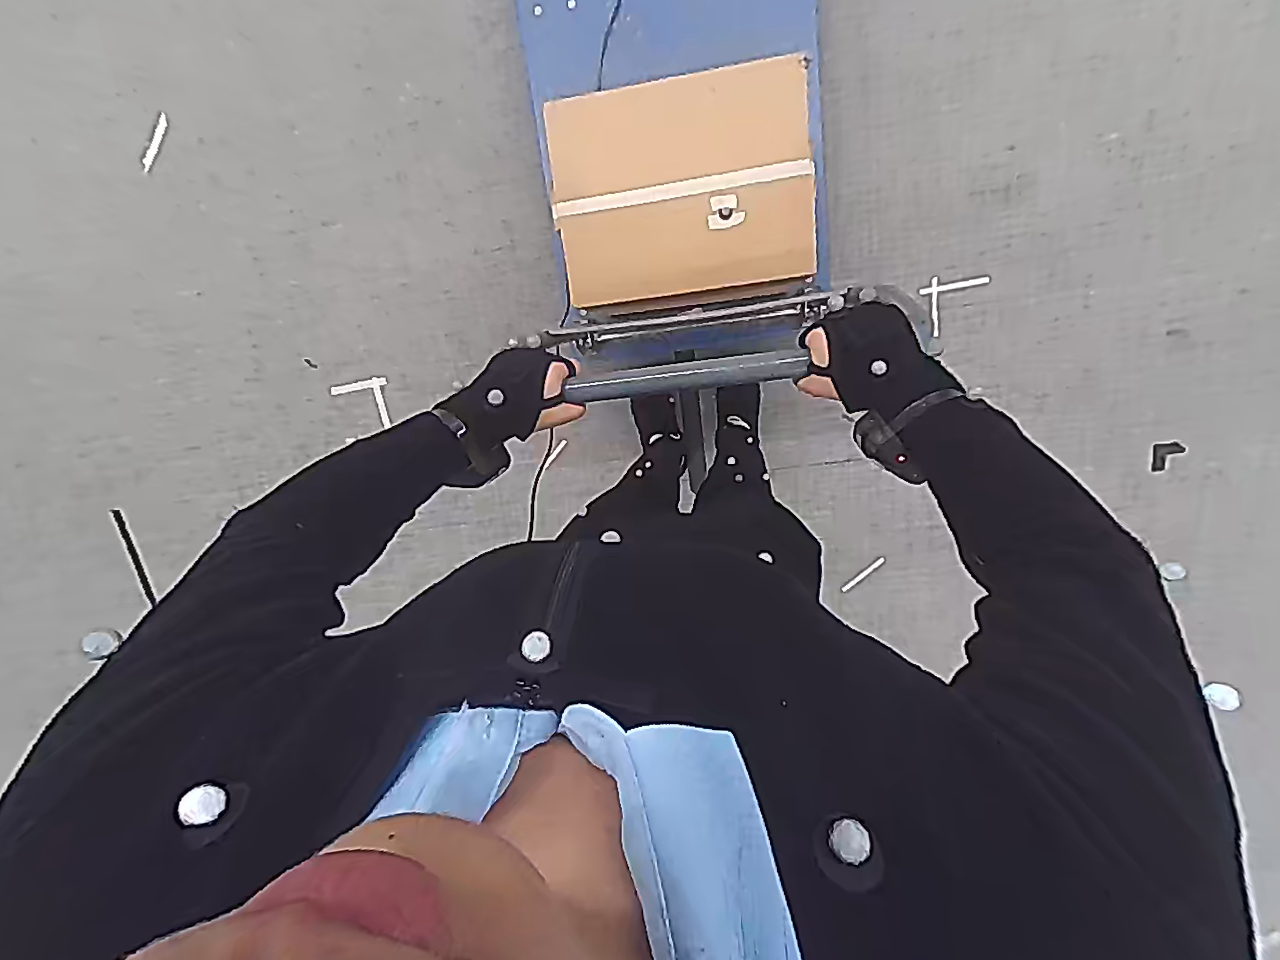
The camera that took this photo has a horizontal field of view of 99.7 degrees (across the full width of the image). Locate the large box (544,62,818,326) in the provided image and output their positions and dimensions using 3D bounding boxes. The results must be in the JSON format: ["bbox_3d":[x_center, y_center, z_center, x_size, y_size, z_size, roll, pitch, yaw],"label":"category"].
[{"bbox_3d":[0.079,-0.473,0.988,0.408,0.320,0.320,-6,104,7],"label":"large box"}]
